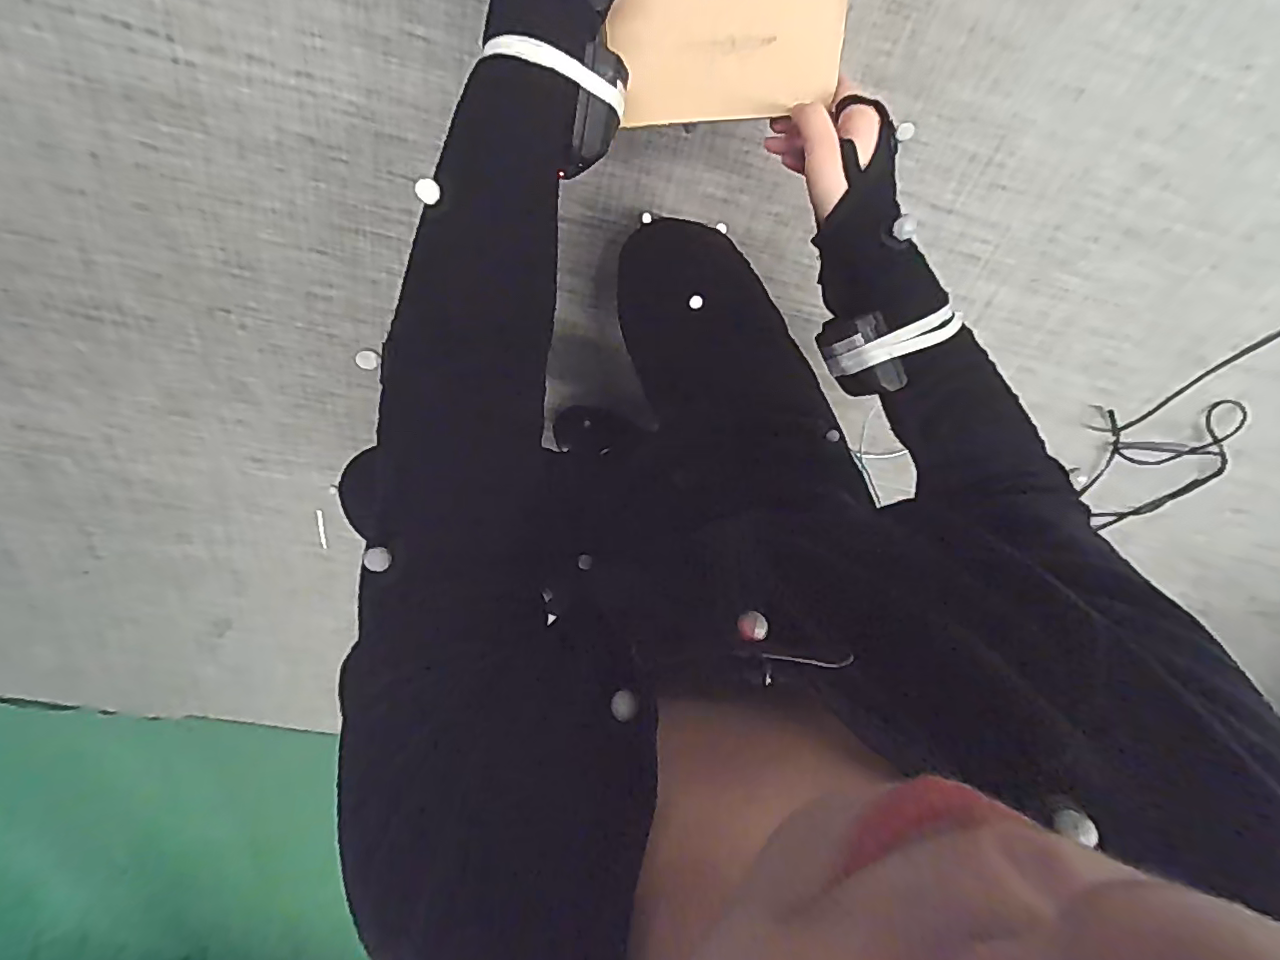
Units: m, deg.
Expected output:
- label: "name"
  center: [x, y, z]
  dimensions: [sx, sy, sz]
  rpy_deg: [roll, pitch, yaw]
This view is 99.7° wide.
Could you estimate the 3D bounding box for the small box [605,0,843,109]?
- label: "small box"
  center: [0.058, -0.398, 0.414]
  dimensions: [0.168, 0.176, 0.179]
  rpy_deg: [-1, 129, 4]
